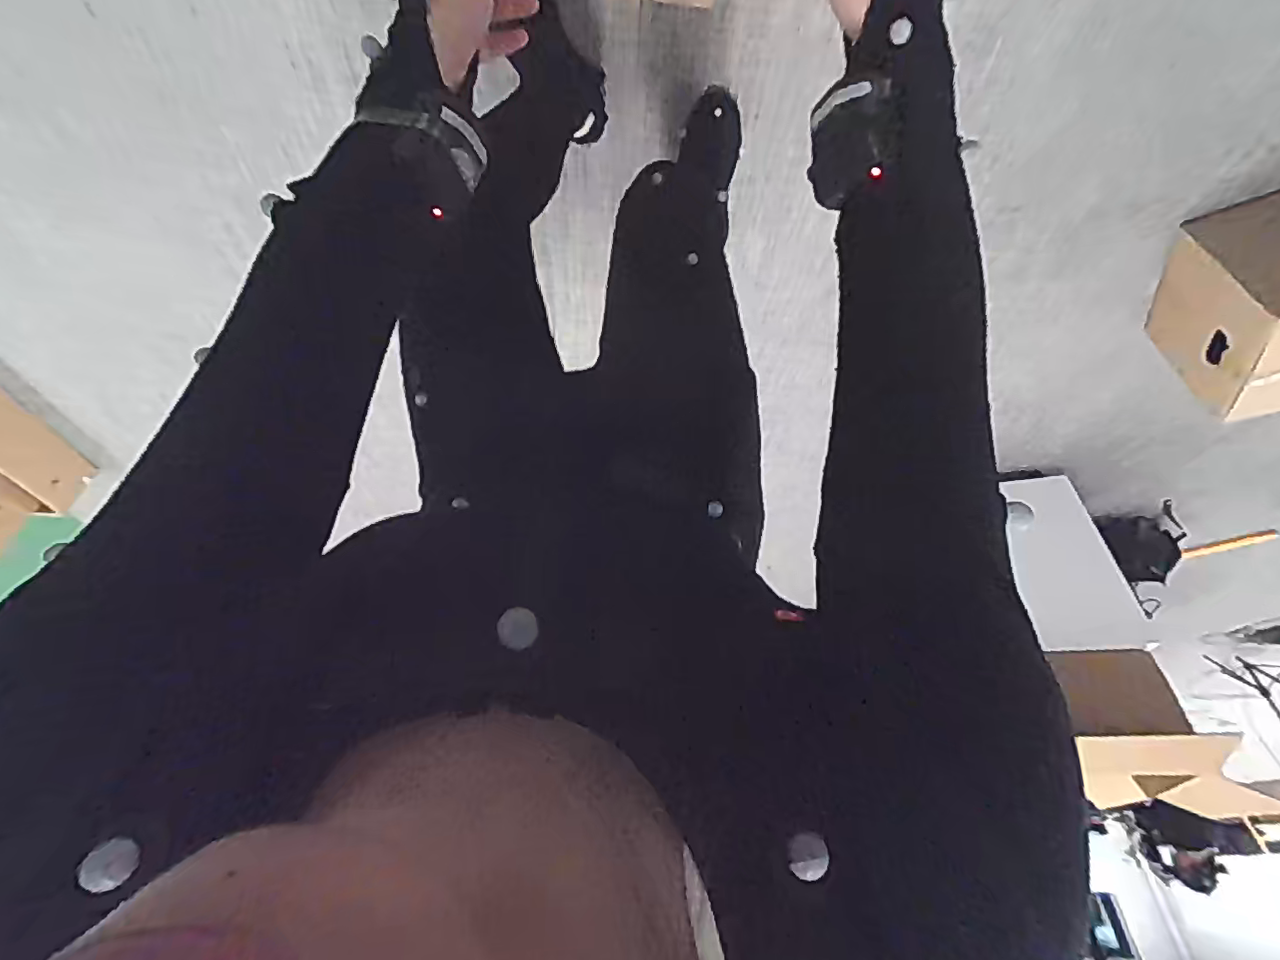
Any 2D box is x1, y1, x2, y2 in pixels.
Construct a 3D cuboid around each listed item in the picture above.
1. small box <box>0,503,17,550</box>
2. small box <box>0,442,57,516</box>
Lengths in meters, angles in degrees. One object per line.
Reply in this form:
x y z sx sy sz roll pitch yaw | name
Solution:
-1.990 0.133 1.566 0.179 0.176 0.168 4 145 -7 | small box
-1.978 -0.006 1.653 0.179 0.176 0.168 1 145 -3 | small box
